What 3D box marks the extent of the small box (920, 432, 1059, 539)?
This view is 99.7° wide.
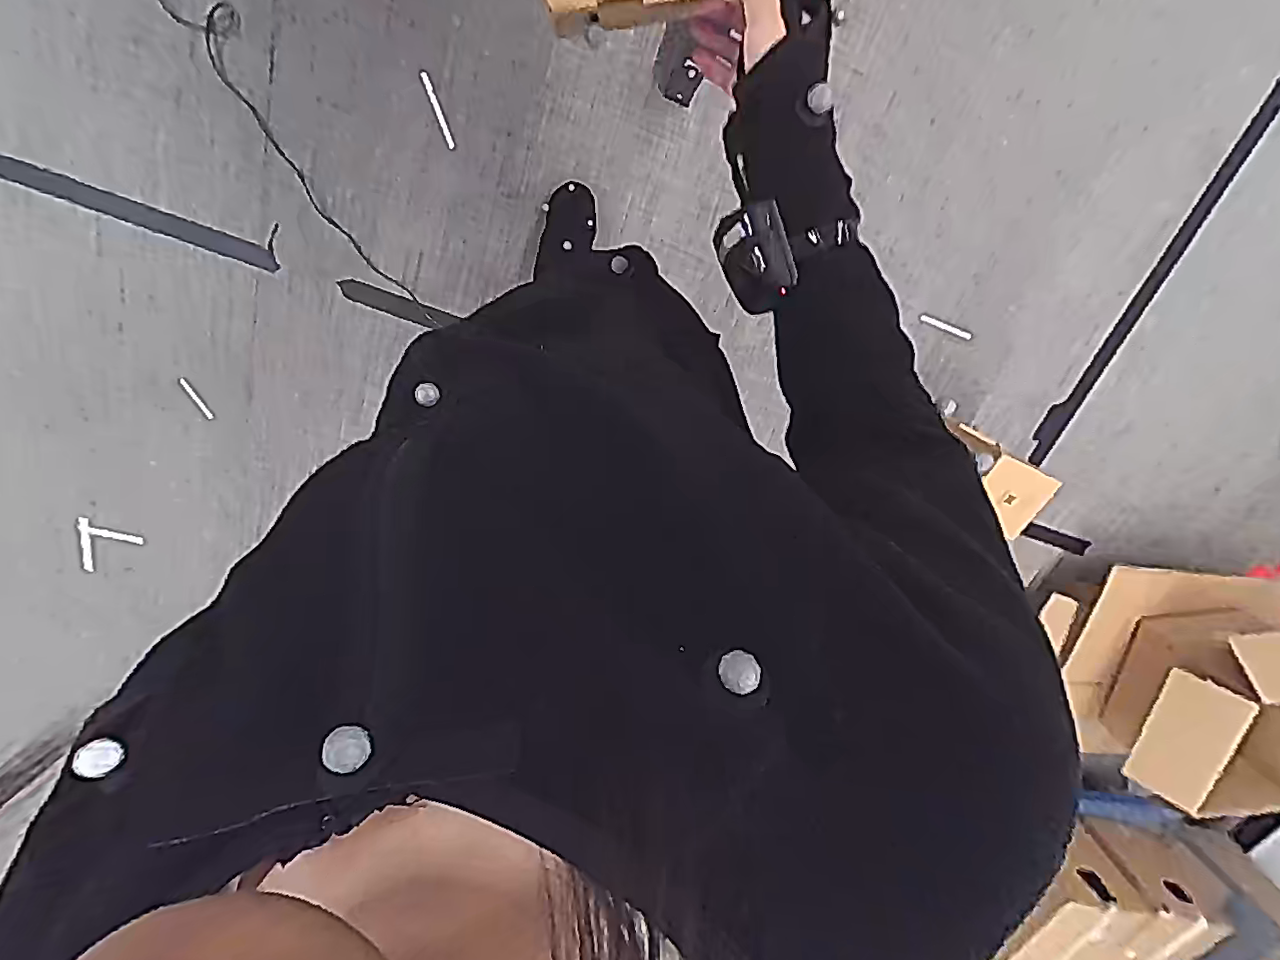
[{"bbox_3d":[0.807,0.006,1.270,0.179,0.176,0.168,21,113,-14],"label":"small box"}]

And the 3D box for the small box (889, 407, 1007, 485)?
[{"bbox_3d":[0.792,-0.068,1.414,0.168,0.176,0.179,22,112,-13],"label":"small box"}]
